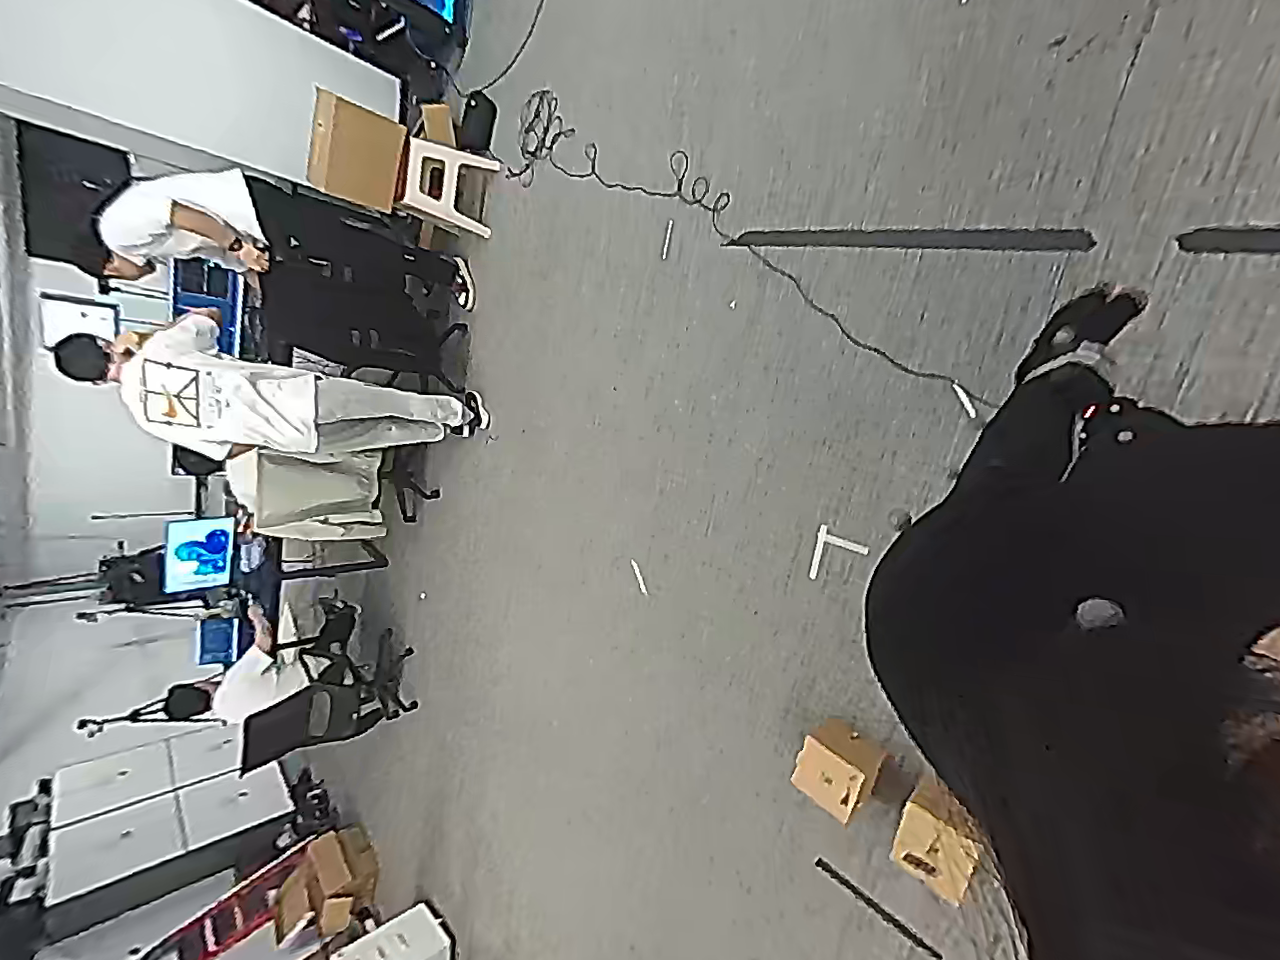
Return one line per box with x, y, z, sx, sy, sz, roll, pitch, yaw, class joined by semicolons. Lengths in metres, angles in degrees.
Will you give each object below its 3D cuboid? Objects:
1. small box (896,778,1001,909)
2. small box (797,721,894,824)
0.772;0.893;1.348;0.168;0.176;0.179;21;105;42;small box
0.583;0.815;1.534;0.179;0.176;0.168;26;109;42;small box
